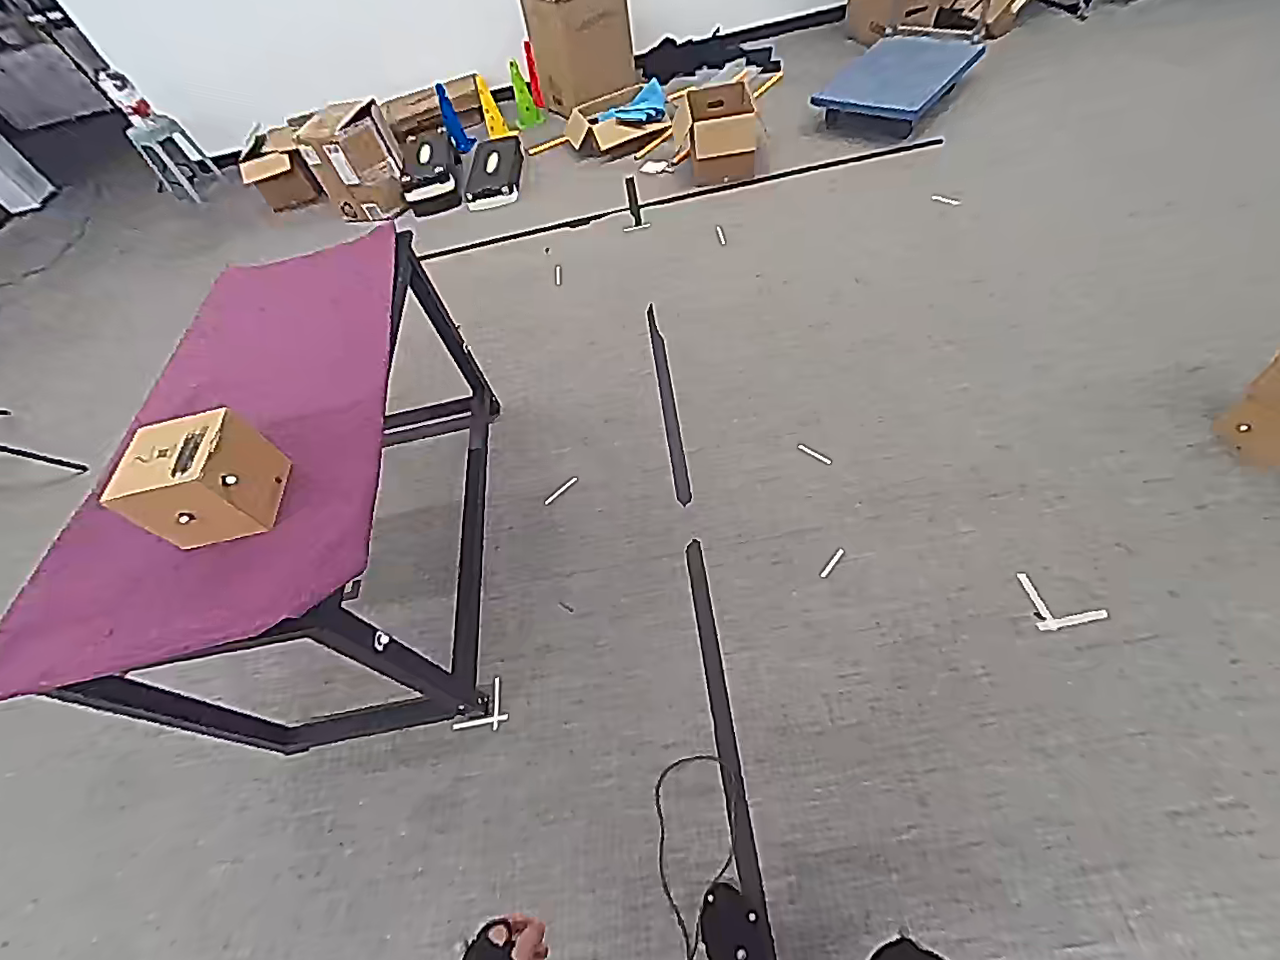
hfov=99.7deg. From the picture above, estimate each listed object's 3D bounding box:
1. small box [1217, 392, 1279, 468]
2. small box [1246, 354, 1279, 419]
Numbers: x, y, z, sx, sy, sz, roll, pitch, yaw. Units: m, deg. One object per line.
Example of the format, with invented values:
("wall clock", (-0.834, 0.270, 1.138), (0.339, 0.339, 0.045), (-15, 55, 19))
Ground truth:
("small box", (1.771, -0.149, 1.492), (0.179, 0.176, 0.168), (-8, 54, 5))
("small box", (1.734, -0.245, 1.366), (0.168, 0.176, 0.179), (-16, 52, 0))
